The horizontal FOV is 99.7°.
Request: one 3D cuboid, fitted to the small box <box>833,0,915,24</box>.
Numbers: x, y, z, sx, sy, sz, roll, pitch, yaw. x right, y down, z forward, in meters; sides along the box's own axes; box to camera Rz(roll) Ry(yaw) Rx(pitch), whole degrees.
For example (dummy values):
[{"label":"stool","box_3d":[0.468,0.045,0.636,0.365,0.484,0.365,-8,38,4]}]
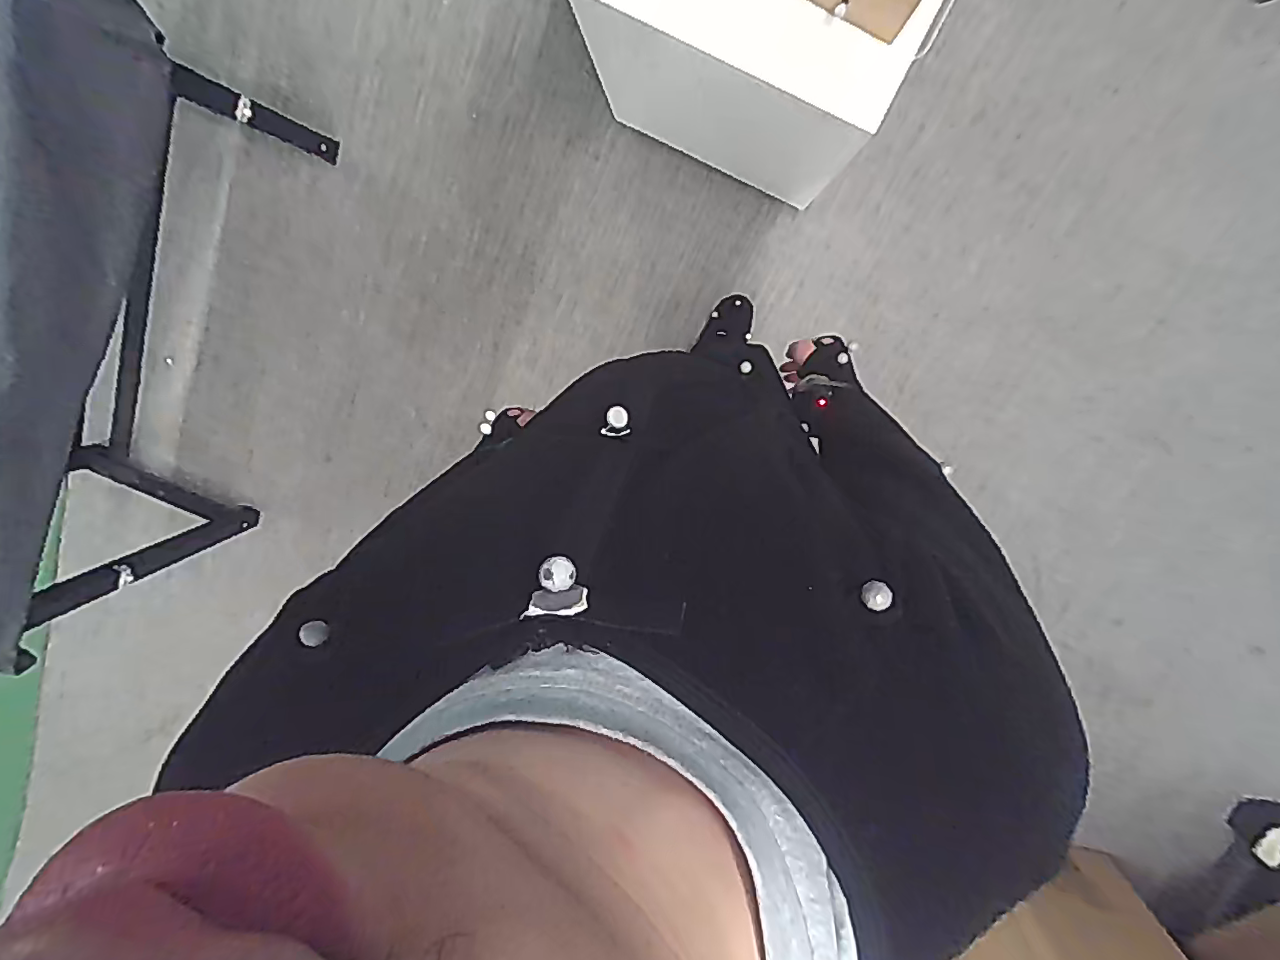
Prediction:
[{"label":"small box","box_3d":[0.303,-0.698,0.643,0.179,0.176,0.168,27,107,-4]}]
